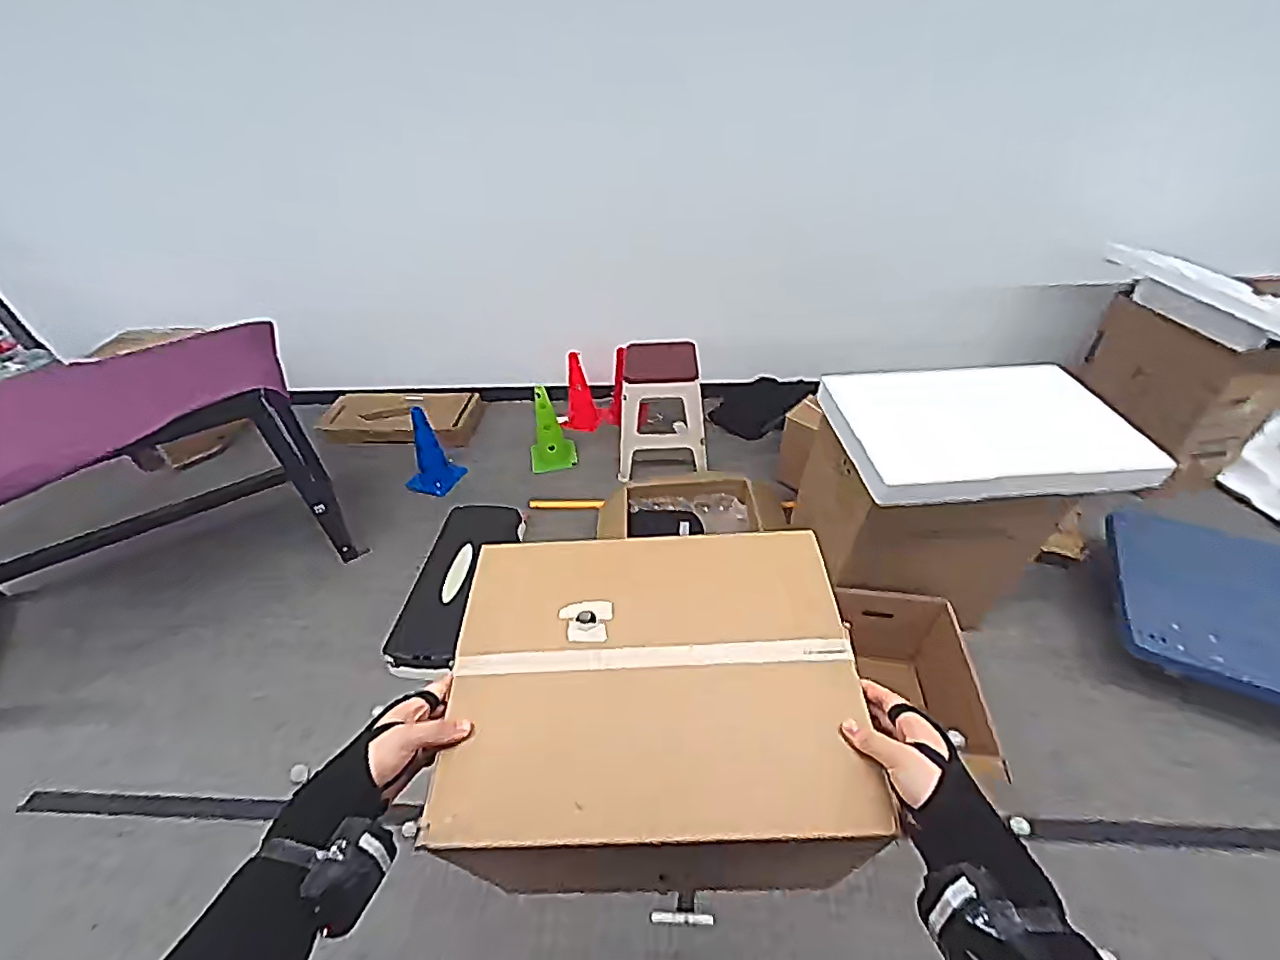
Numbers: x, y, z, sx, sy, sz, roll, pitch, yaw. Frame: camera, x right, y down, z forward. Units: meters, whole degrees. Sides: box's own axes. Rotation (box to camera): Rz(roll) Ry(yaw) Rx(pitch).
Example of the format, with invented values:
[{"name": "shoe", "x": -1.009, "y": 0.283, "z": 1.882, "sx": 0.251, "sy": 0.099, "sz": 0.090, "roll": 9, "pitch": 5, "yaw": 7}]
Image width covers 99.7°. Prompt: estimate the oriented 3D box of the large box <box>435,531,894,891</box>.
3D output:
[{"name": "large box", "x": 0.028, "y": 0.292, "z": 0.670, "sx": 0.408, "sy": 0.320, "sz": 0.320, "roll": -5, "pitch": 45, "yaw": 3}]
